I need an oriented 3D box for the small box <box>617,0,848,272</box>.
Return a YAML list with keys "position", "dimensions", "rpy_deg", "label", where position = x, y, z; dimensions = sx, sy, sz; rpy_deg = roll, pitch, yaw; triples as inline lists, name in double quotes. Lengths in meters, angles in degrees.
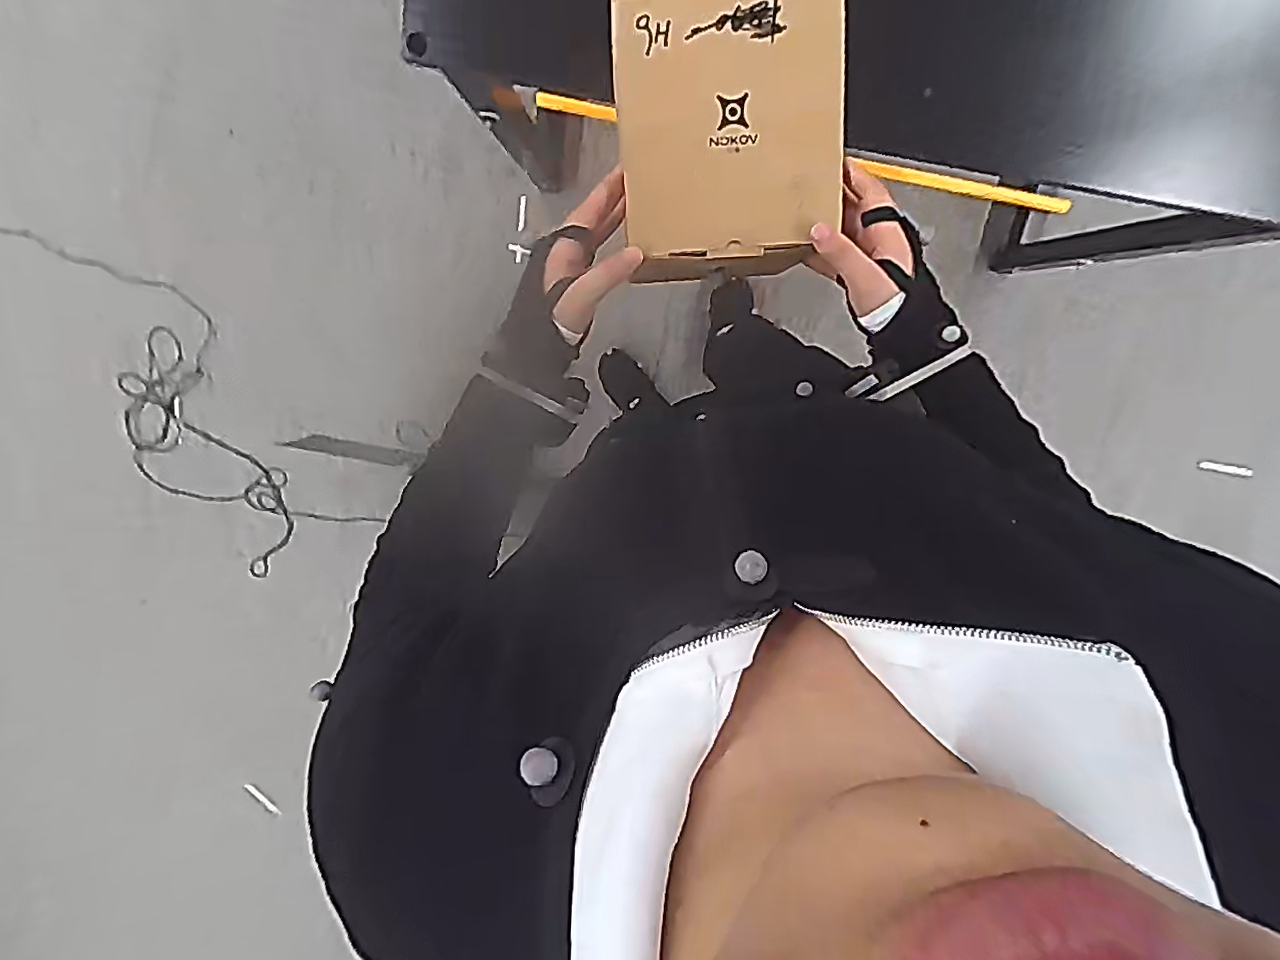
- position: [0.069, -0.285, 0.480]
  dimensions: [0.168, 0.176, 0.179]
  rpy_deg: [-4, 105, 0]
  label: "small box"
